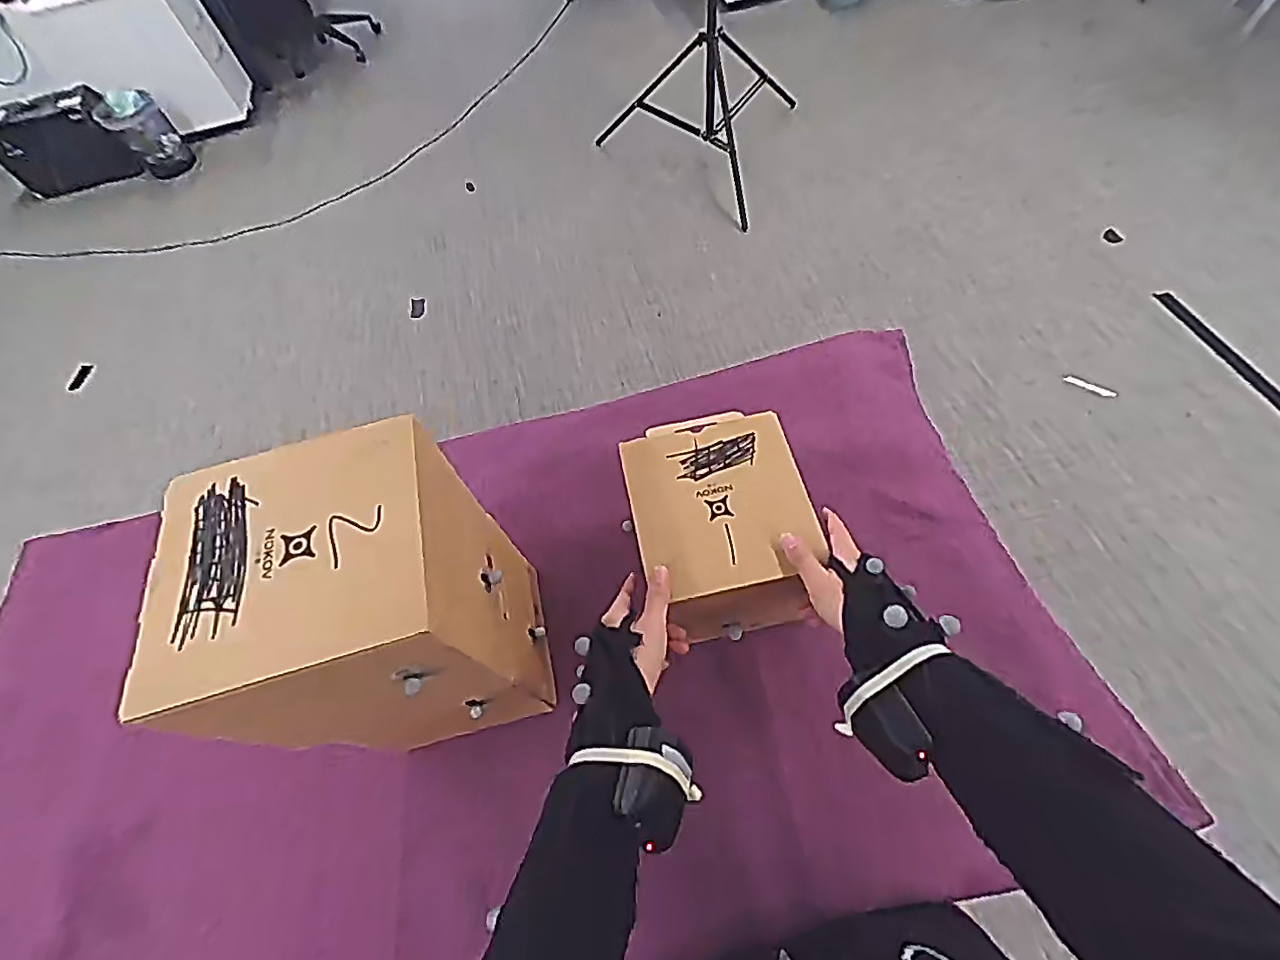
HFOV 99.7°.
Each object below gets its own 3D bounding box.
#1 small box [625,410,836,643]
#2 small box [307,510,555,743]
[{"bbox_3d":[0.084,0.056,0.578,0.168,0.176,0.179,-12,60,0],"label":"small box"},{"bbox_3d":[-0.201,0.158,0.555,0.179,0.176,0.168,-15,60,-3],"label":"small box"}]
